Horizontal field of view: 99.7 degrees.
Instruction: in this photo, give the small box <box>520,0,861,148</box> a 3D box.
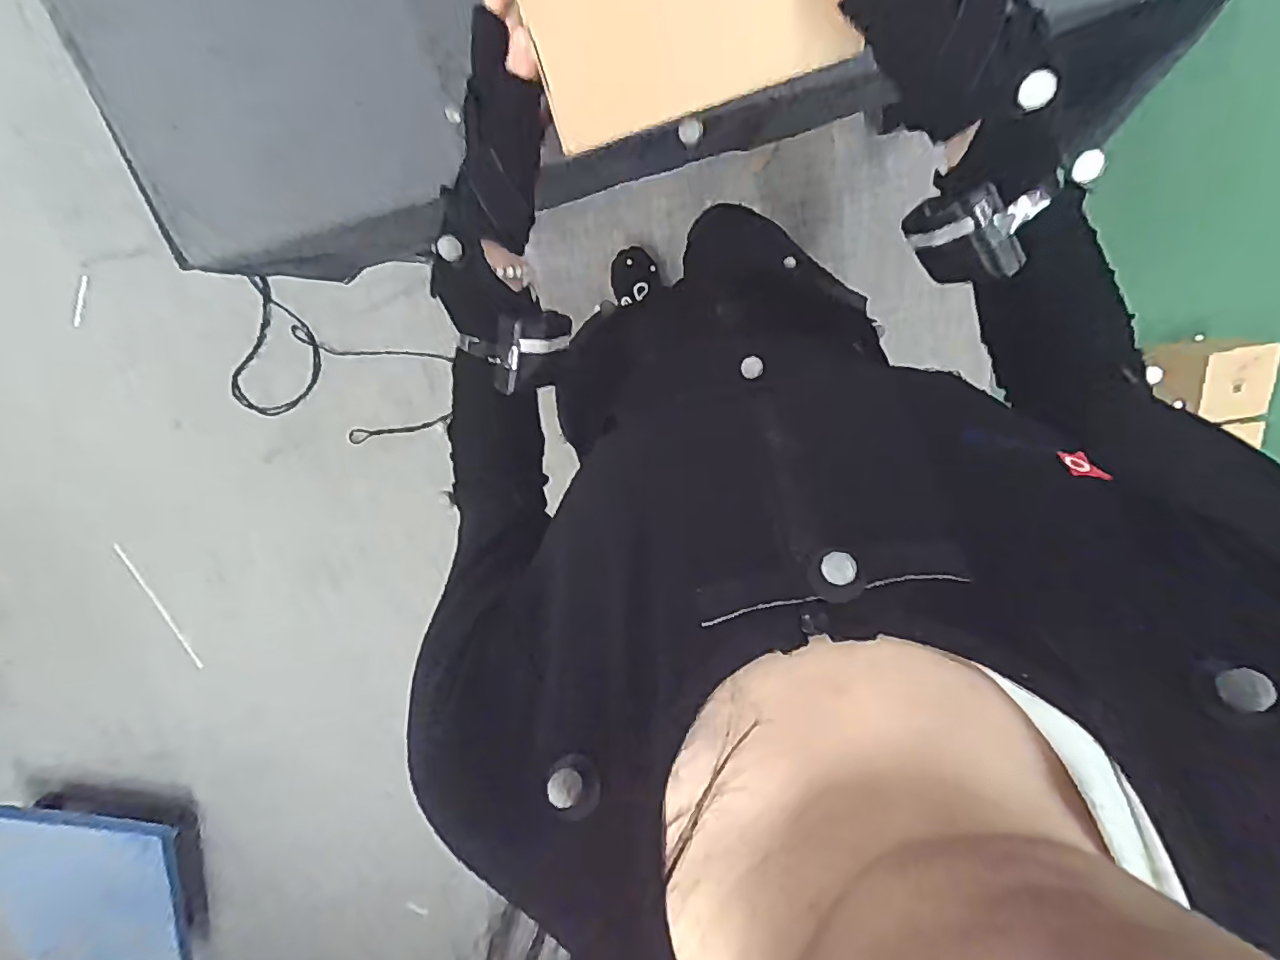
[{"bbox_3d":[0.010,-0.322,0.325,0.179,0.176,0.168,-17,124,4],"label":"small box"}]
